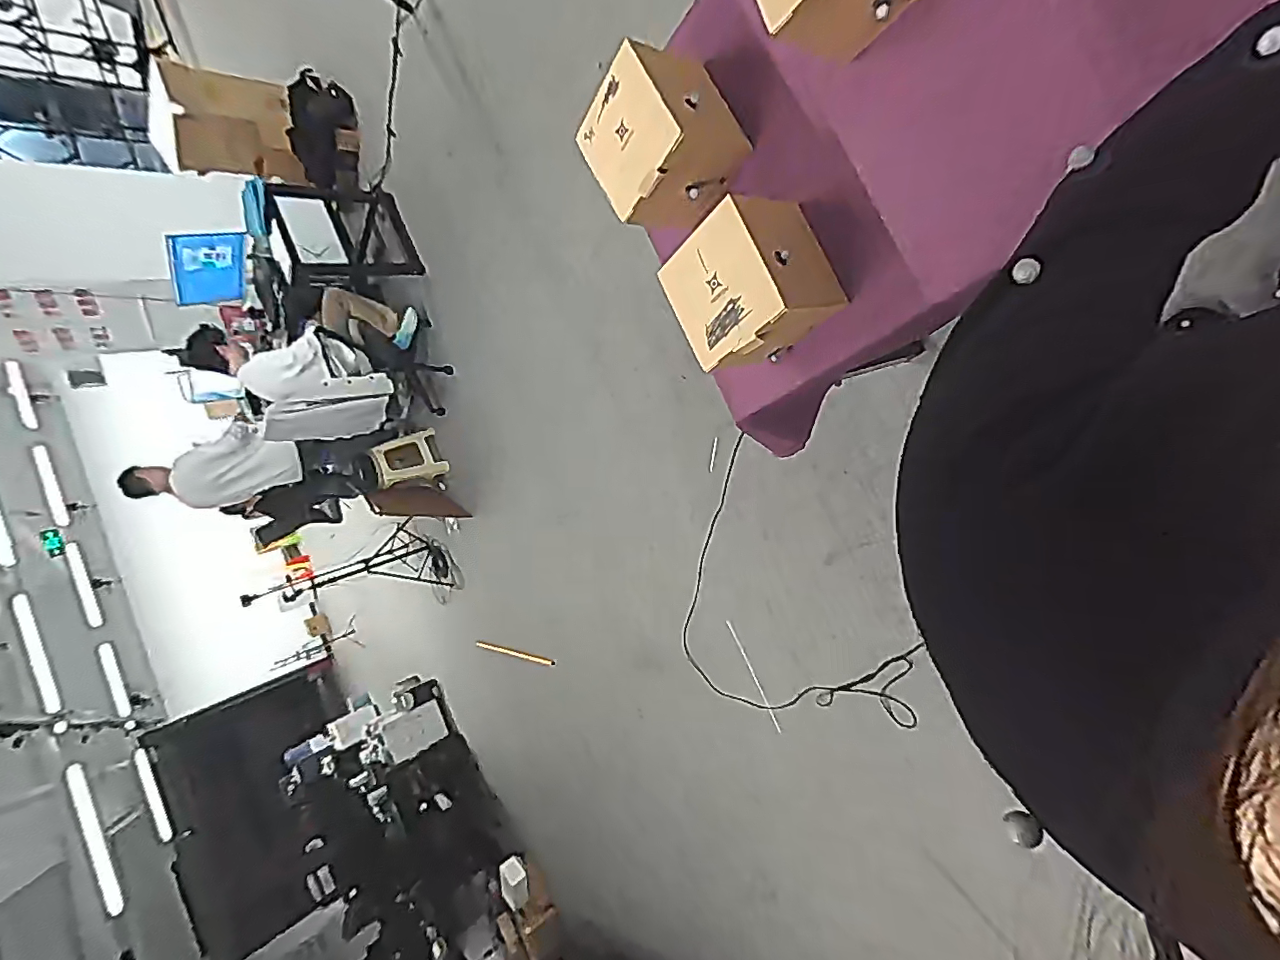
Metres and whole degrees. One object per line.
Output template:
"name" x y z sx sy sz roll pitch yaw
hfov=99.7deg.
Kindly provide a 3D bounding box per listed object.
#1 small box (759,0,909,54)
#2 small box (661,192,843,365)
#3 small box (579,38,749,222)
"small box" 0.226 -0.629 0.602 0.168 0.176 0.179 -20 90 51
"small box" 0.169 -0.295 0.807 0.168 0.176 0.179 -32 79 49
"small box" 0.040 -0.538 0.854 0.168 0.176 0.179 -37 78 49
